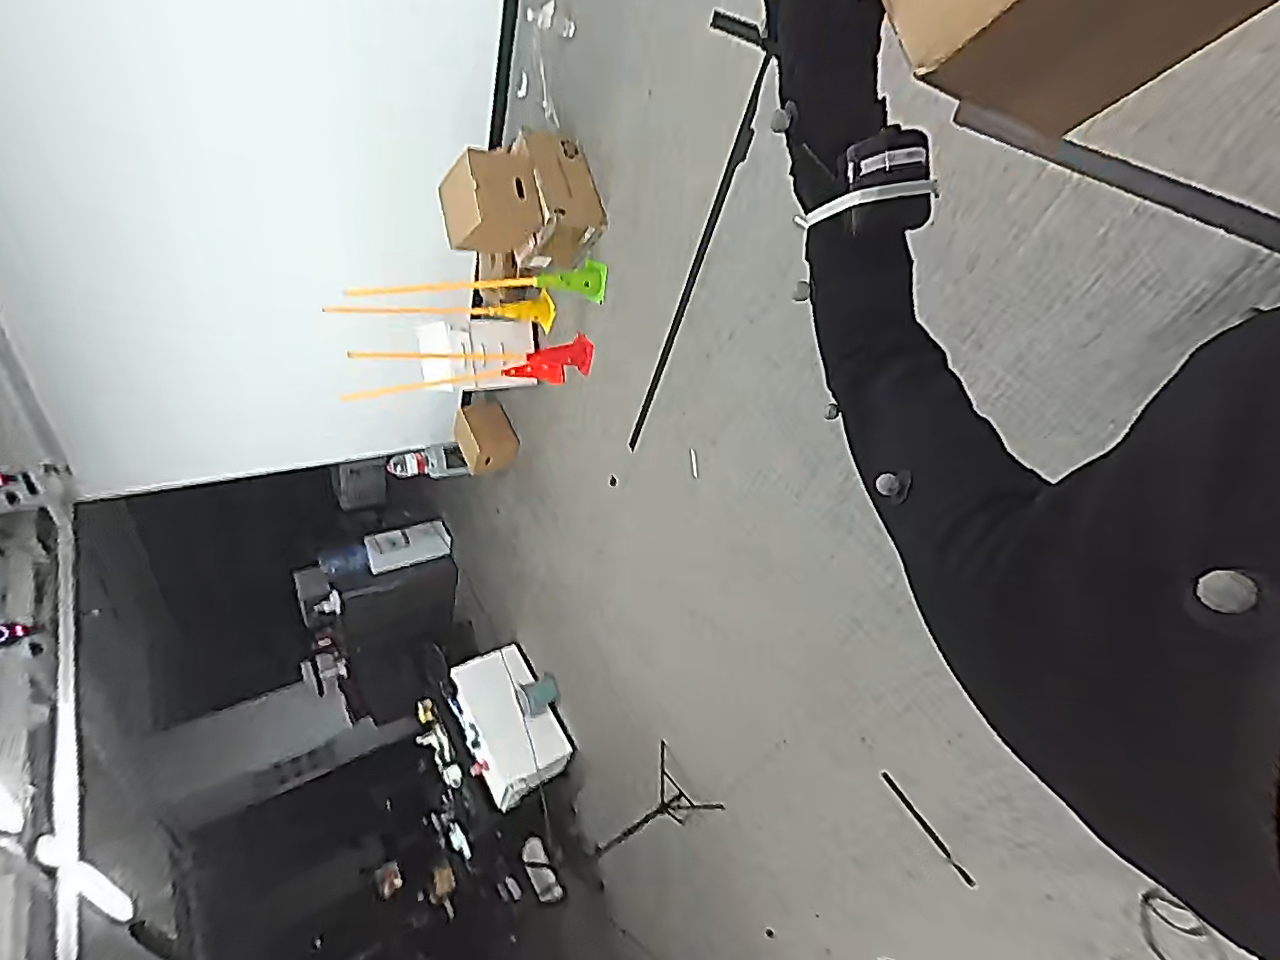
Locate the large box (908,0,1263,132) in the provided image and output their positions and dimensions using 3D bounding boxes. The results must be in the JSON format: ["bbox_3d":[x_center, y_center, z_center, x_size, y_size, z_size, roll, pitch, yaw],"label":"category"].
[{"bbox_3d":[0.366,-0.504,0.308,0.408,0.320,0.320,-23,86,51],"label":"large box"}]
